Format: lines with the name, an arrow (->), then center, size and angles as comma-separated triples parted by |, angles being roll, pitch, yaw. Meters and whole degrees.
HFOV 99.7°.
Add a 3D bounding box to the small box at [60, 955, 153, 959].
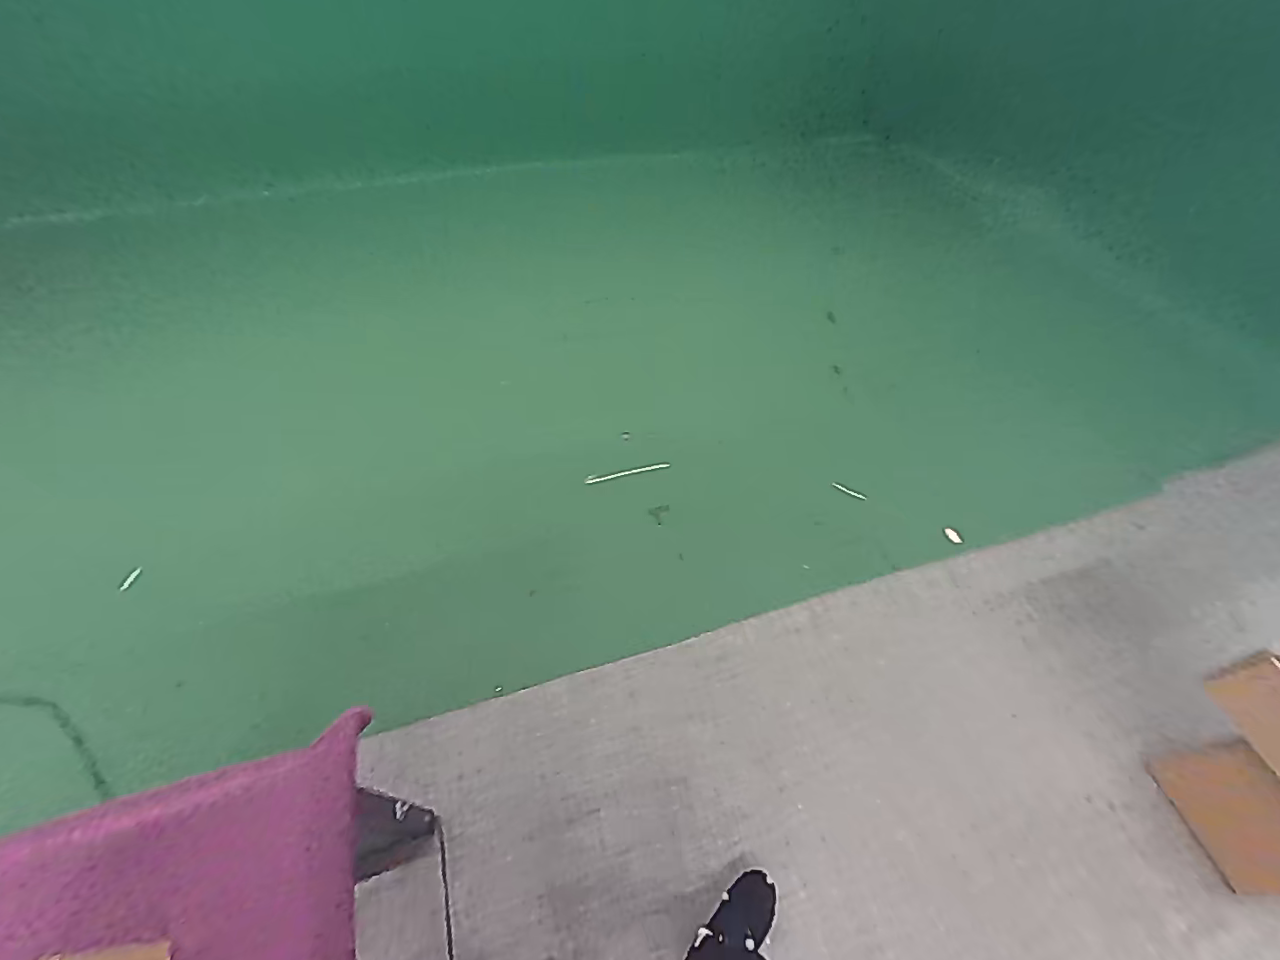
small box -> -0.608, 0.595, 0.520 | 0.168, 0.176, 0.179 | -14, 55, -12
